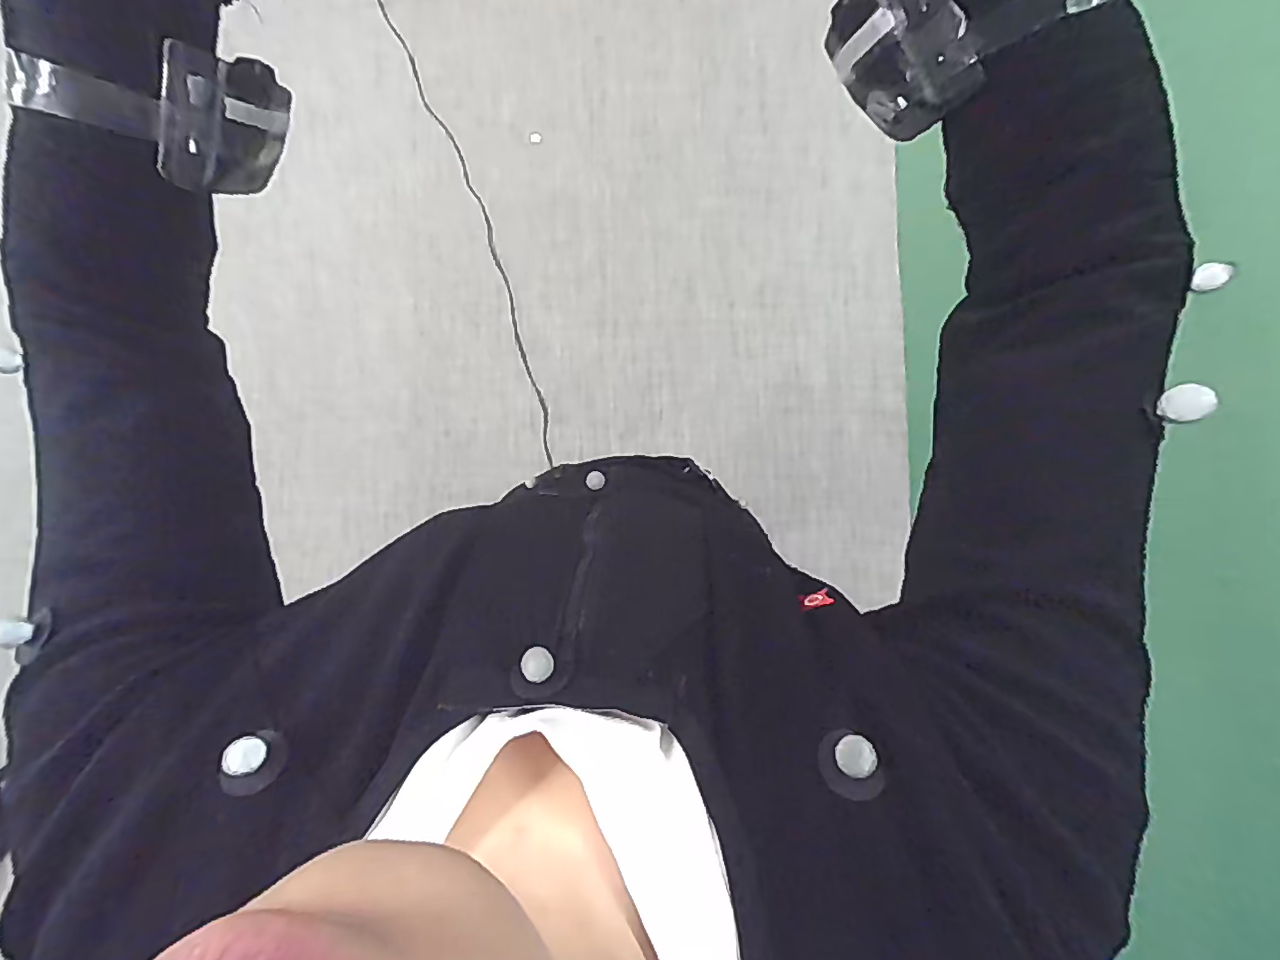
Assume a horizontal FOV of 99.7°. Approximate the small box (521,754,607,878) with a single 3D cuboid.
[{"bbox_3d":[-0.163,0.743,1.211,0.168,0.176,0.179,0,87,2],"label":"small box"}]
